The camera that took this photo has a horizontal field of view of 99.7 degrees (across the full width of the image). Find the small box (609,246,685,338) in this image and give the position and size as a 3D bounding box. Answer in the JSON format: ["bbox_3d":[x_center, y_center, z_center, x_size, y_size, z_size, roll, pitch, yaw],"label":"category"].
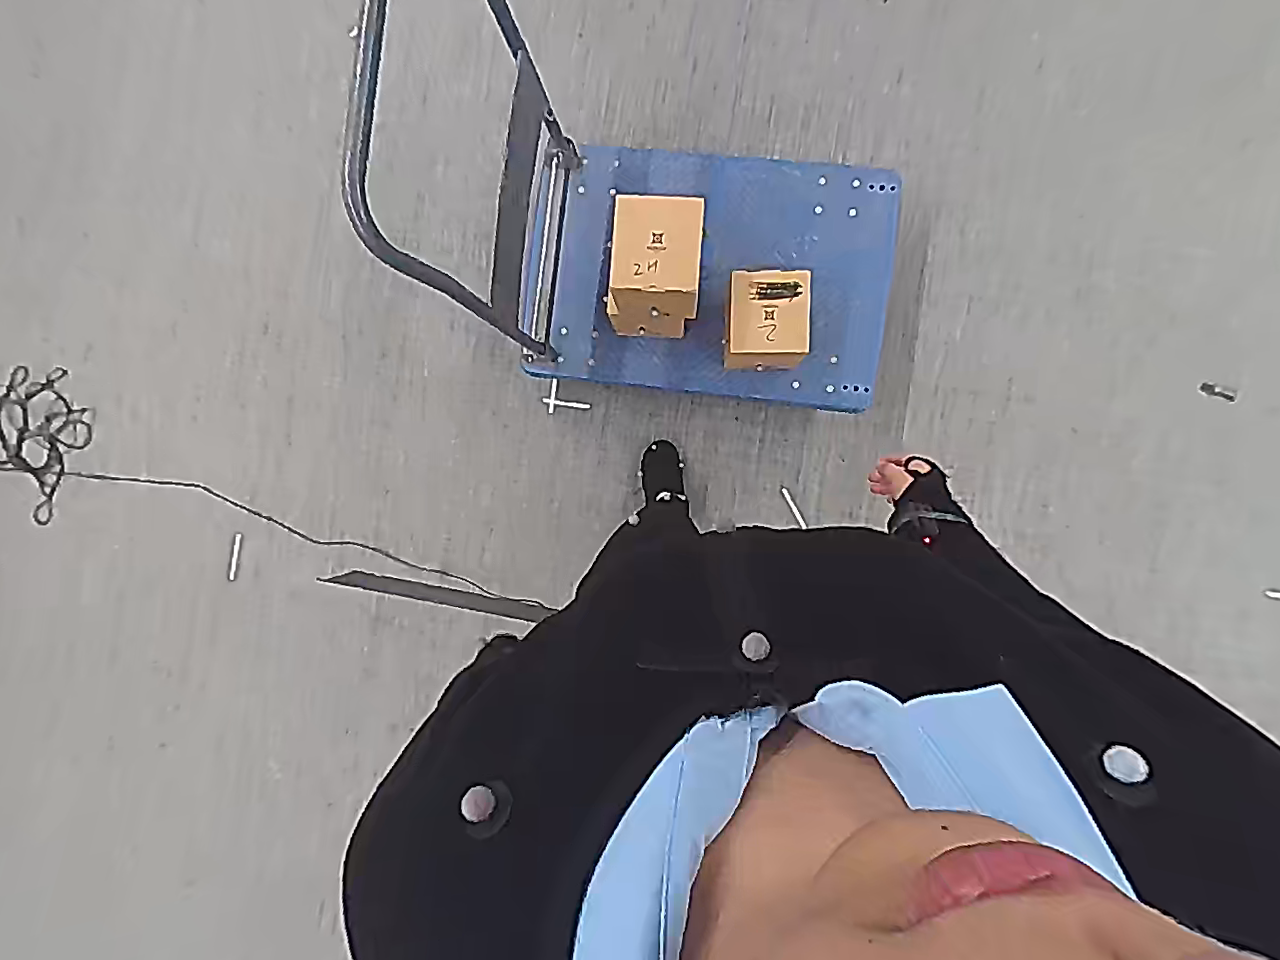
[{"bbox_3d":[0.025,-0.437,1.234,0.168,0.176,0.179,4,91,4],"label":"small box"}]

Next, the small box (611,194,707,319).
[{"bbox_3d":[0.039,-0.434,1.068,0.168,0.176,0.179,4,91,4],"label":"small box"}]
